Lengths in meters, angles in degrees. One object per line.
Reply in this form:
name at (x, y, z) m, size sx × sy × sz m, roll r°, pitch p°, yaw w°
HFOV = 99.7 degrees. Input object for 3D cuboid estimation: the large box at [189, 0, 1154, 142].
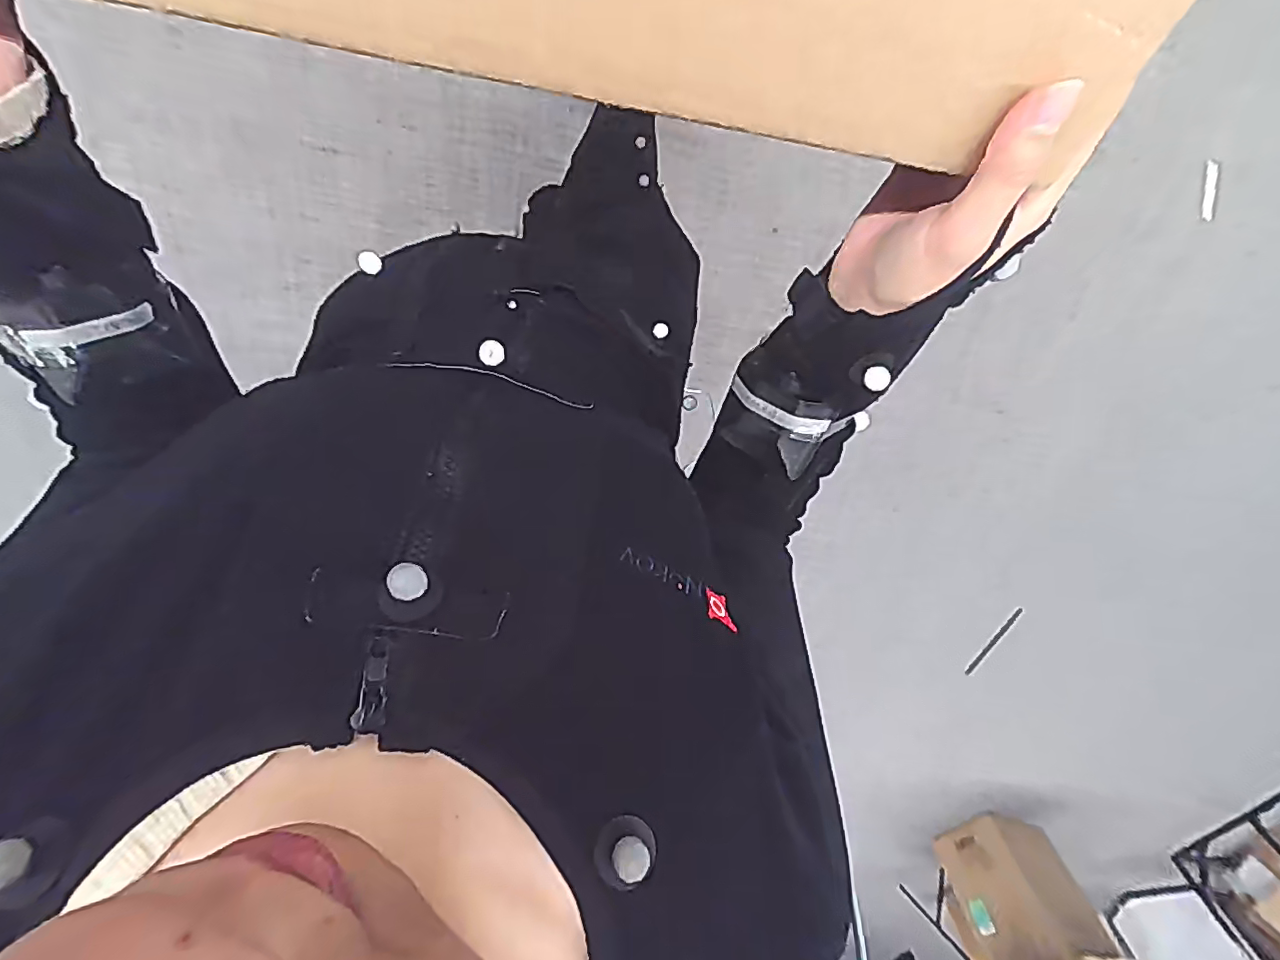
large box at (-0.017, -0.353, 0.156) m, size 0.408 × 0.320 × 0.320 m, roll 4°, pitch 143°, yaw -9°
